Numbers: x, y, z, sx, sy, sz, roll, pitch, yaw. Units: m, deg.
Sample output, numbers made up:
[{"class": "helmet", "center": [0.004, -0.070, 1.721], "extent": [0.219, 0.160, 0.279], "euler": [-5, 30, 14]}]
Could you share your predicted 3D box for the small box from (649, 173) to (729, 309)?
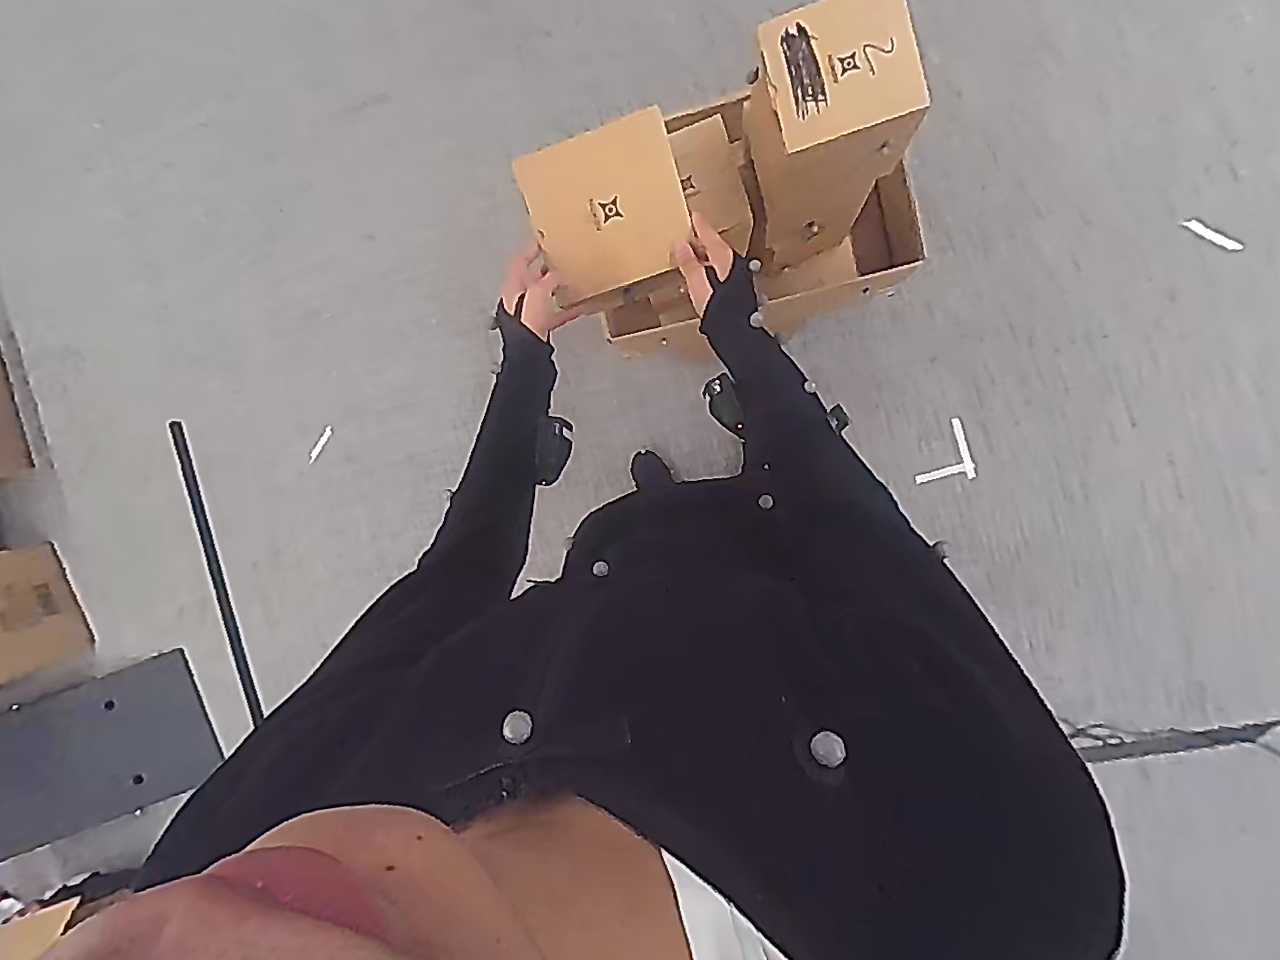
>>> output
[{"class": "small box", "center": [0.076, -0.473, 1.096], "extent": [0.168, 0.176, 0.179], "euler": [-18, 91, 9]}]

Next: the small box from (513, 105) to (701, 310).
[{"class": "small box", "center": [-0.030, -0.323, 0.681], "extent": [0.179, 0.176, 0.168], "euler": [-16, 102, 10]}]
